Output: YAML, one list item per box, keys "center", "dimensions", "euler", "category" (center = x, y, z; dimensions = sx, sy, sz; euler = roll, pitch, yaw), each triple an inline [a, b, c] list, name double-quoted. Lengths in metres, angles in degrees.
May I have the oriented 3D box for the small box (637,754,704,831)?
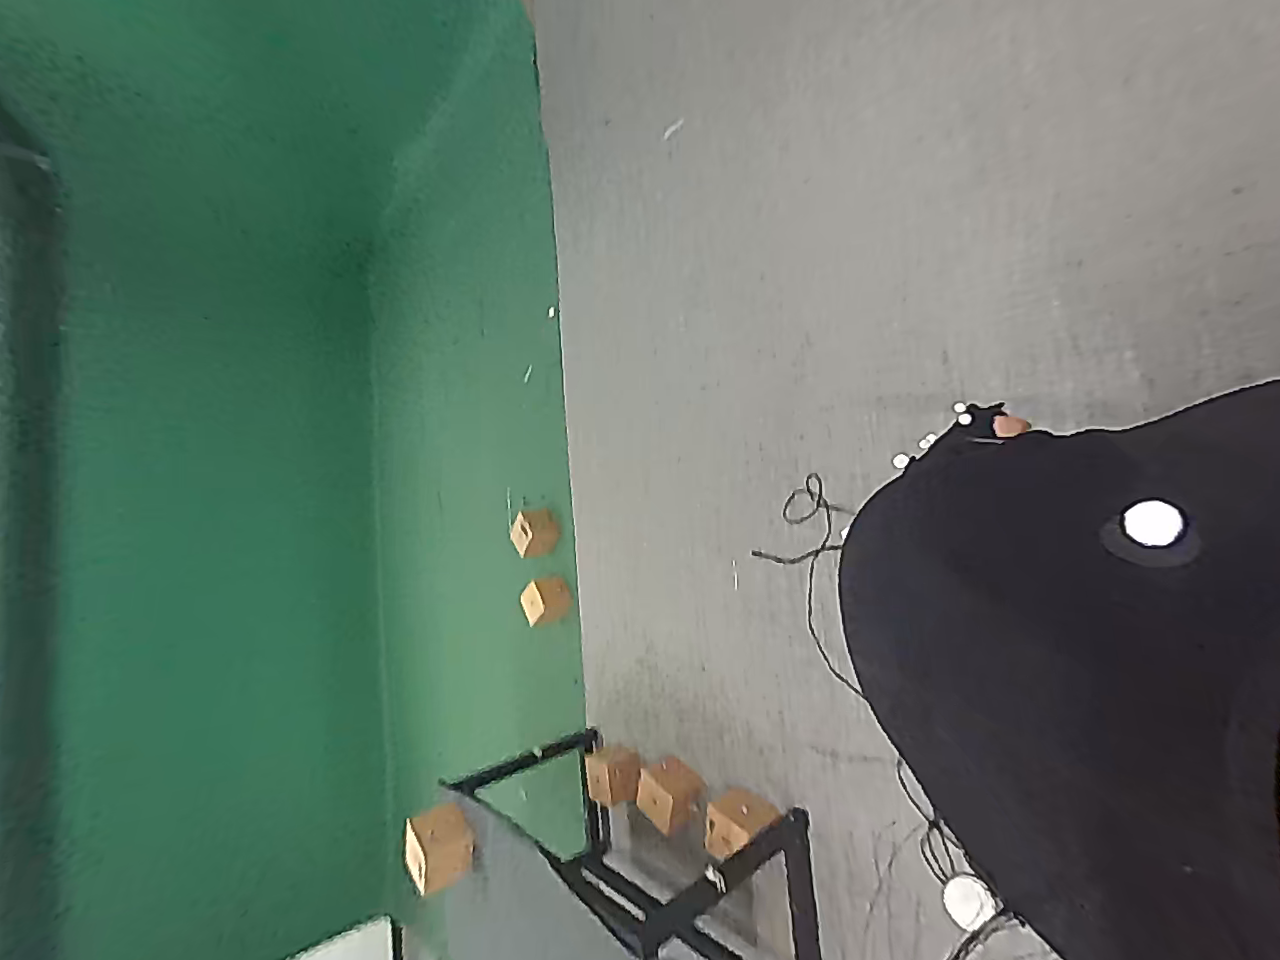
- center: [0.118, 1.185, 2.074]
  dimensions: [0.179, 0.176, 0.168]
  euler: [20, 106, 45]
  category: "small box"

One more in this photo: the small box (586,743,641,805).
- center: [-0.111, 1.257, 2.328]
  dimensions: [0.168, 0.176, 0.179]
  euler: [-17, 78, 48]
  category: "small box"

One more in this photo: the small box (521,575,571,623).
- center: [-0.471, 0.598, 2.727]
  dimensions: [0.179, 0.176, 0.168]
  euler: [-53, 54, 34]
  category: "small box"

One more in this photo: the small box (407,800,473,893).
- center: [-0.695, 1.265, 1.884]
  dimensions: [0.179, 0.176, 0.168]
  euler: [21, 108, 45]
  category: "small box"

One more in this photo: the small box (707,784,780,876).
- center: [0.349, 1.163, 1.816]
  dimensions: [0.179, 0.176, 0.168]
  euler: [9, 97, 47]
  category: "small box"
